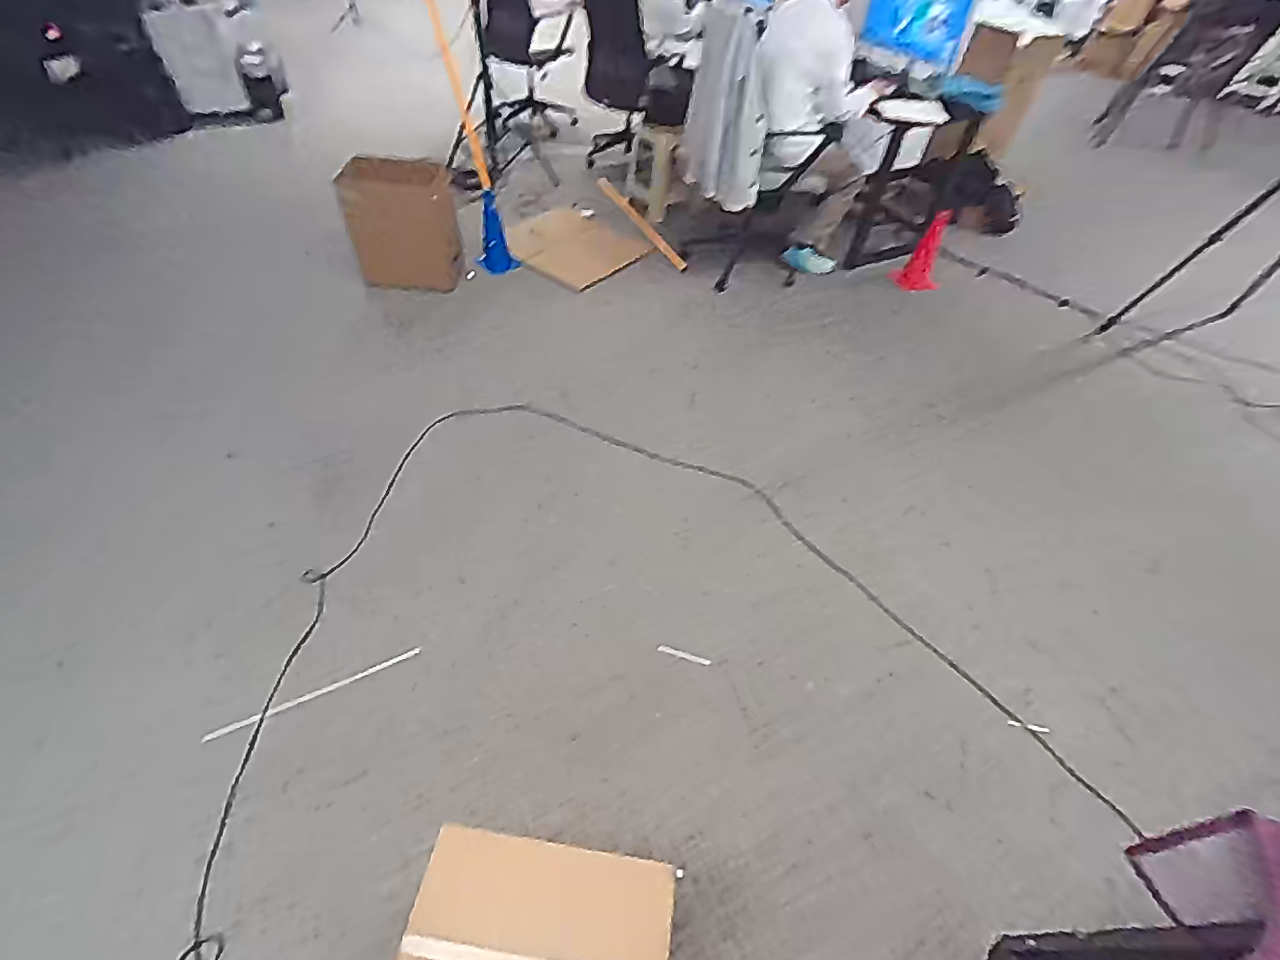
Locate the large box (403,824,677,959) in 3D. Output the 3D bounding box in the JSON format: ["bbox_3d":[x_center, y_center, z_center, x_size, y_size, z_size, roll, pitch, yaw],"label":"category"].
[{"bbox_3d":[-0.166,0.820,0.920,0.408,0.320,0.320,9,49,2],"label":"large box"}]
